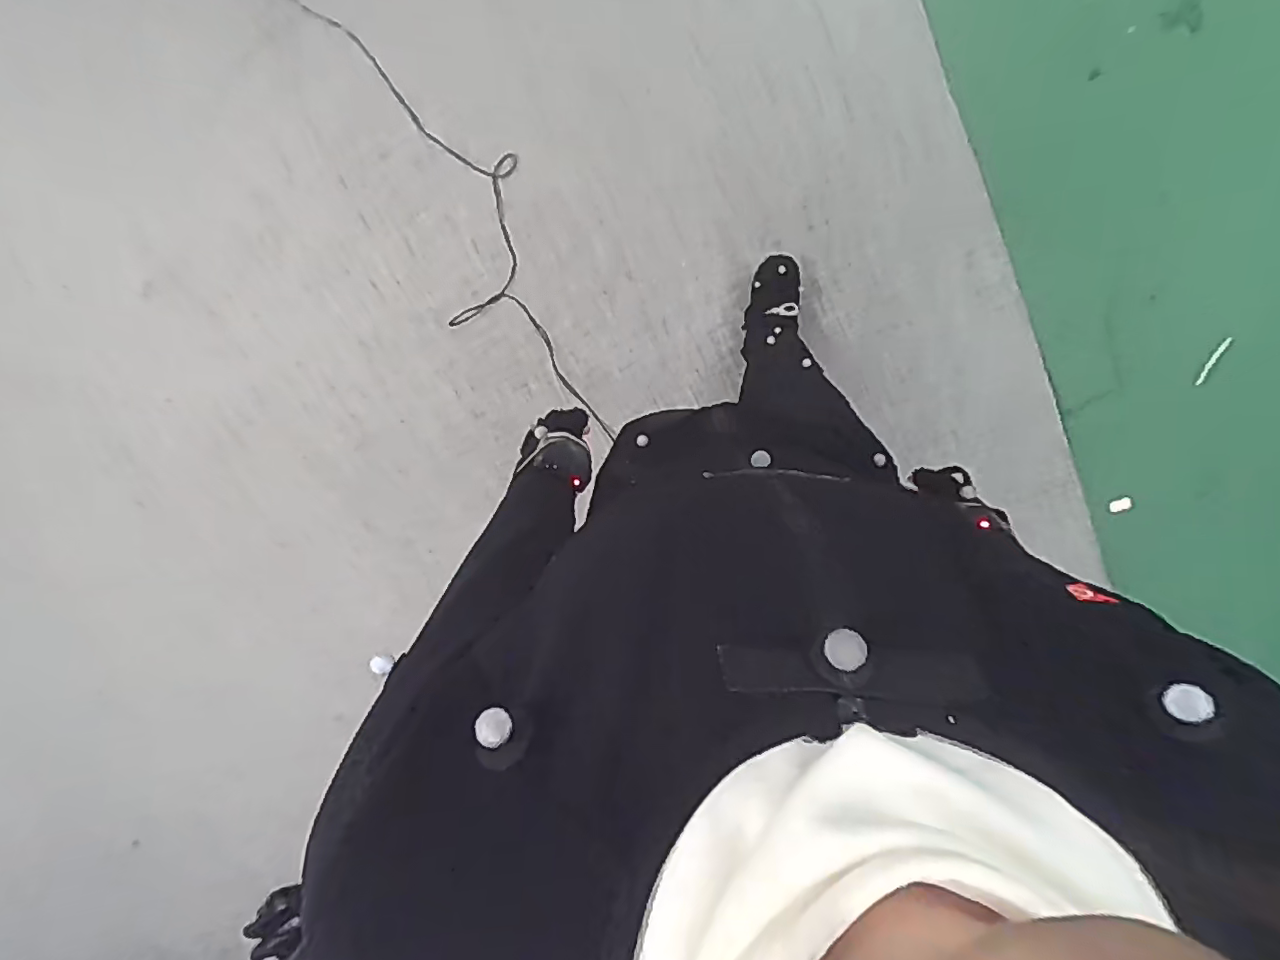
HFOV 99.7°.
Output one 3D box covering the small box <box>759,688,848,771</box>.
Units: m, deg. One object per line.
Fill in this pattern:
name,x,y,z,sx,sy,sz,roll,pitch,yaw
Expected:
small box,0.439,0.710,1.488,0.179,0.176,0.168,-25,101,8
